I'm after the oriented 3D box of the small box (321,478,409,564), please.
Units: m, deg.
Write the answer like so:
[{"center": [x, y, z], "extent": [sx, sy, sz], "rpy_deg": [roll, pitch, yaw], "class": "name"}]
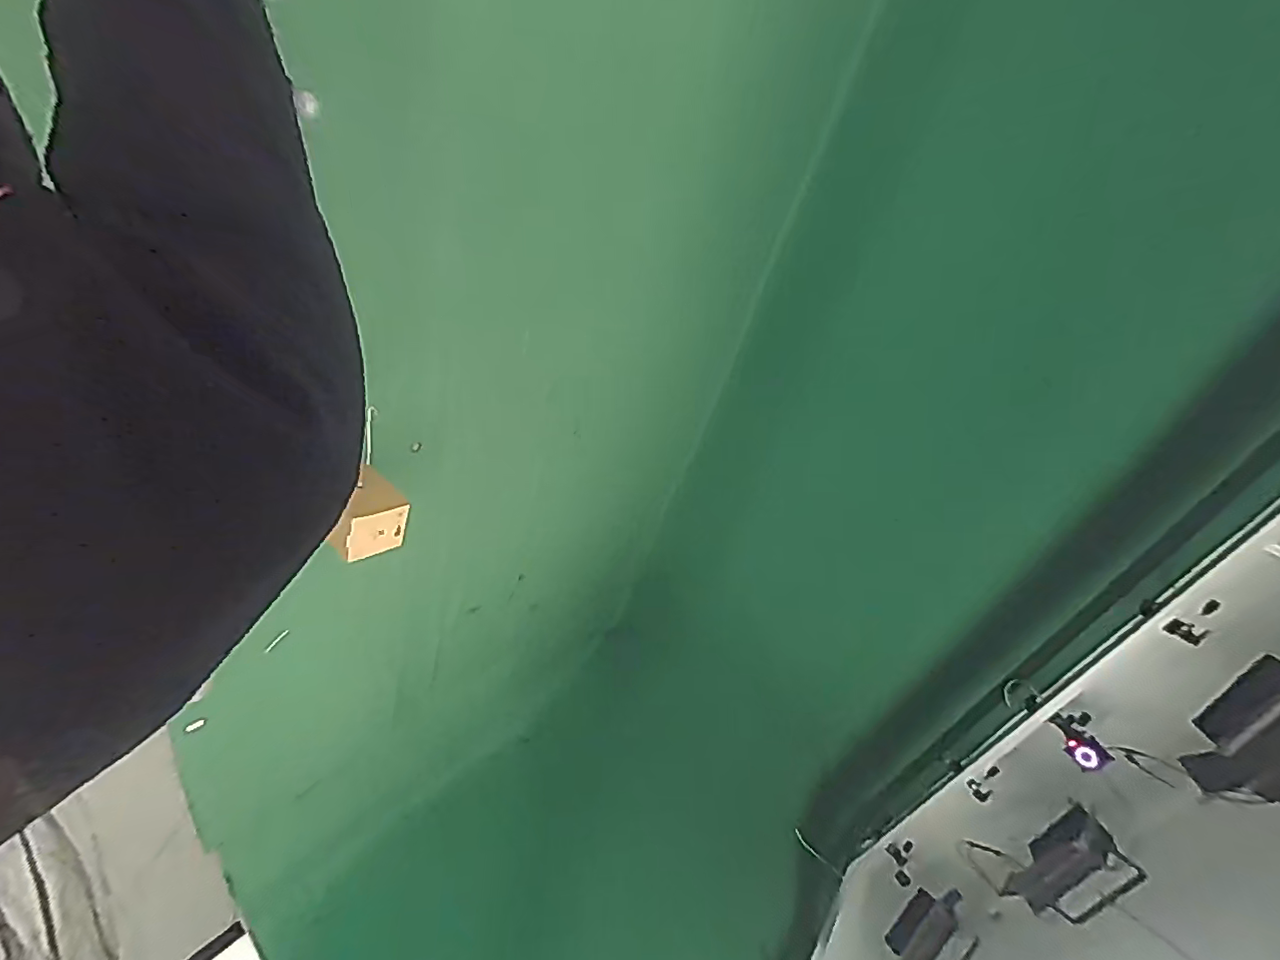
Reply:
[{"center": [-0.825, 0.116, 1.609], "extent": [0.179, 0.176, 0.168], "rpy_deg": [-19, 140, -52], "class": "small box"}]
